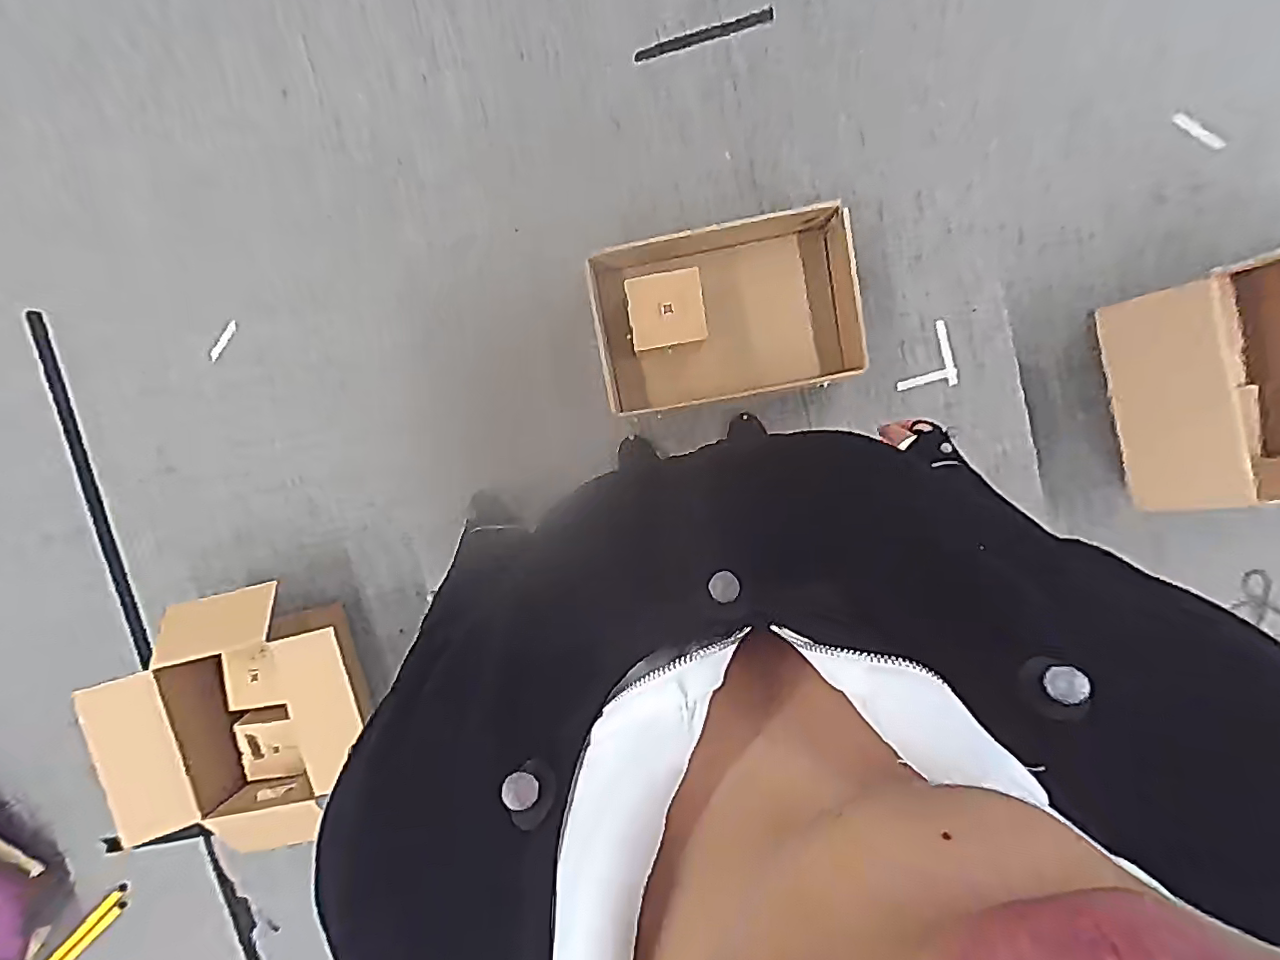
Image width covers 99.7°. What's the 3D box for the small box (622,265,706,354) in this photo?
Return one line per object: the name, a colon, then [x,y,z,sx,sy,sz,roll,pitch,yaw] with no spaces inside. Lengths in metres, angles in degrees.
small box: [0.058,-0.412,1.334,0.179,0.176,0.168,-10,98,2]
